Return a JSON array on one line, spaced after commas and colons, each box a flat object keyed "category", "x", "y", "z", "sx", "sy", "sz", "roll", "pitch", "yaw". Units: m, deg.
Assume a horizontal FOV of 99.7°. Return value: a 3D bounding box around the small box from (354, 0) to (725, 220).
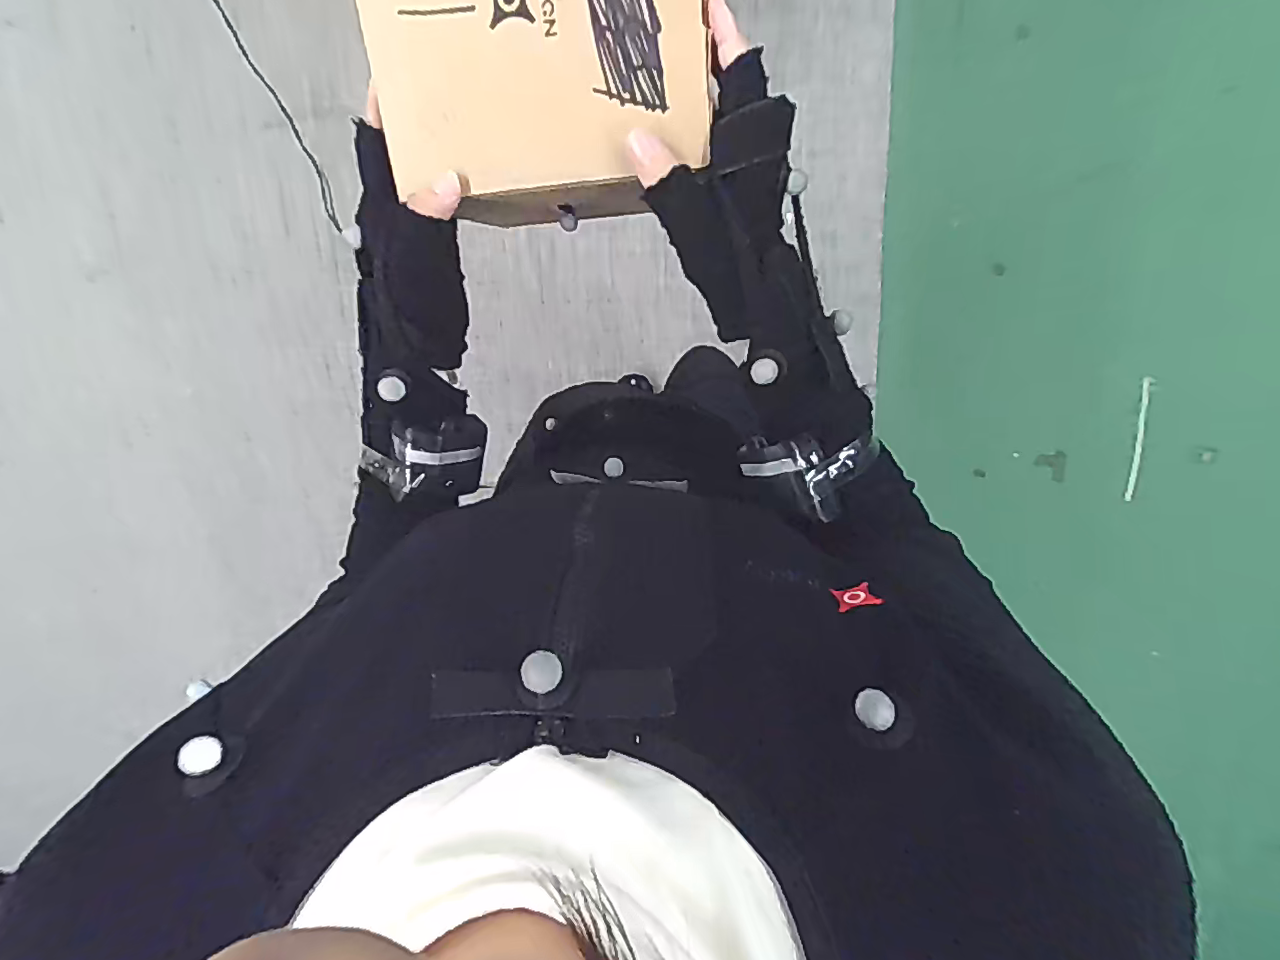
[{"category": "small box", "x": -0.047, "y": -0.264, "z": 0.331, "sx": 0.179, "sy": 0.176, "sz": 0.168, "roll": -6, "pitch": 111, "yaw": 7}]
